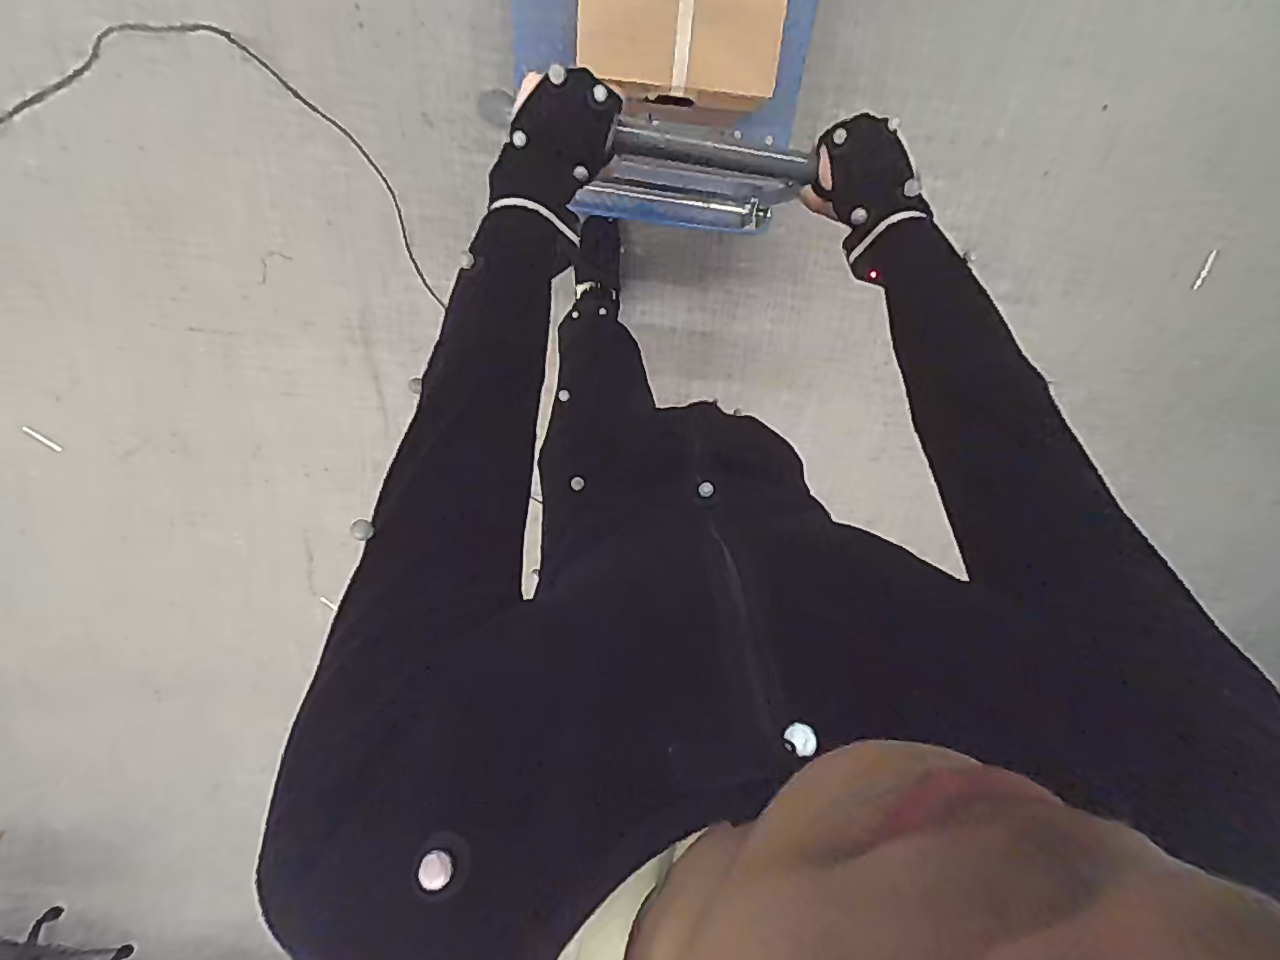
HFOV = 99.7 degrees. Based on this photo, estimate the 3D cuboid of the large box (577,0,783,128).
[{"bbox_3d":[0.059,-0.858,0.907,0.320,0.320,0.408,2,114,-6],"label":"large box"}]
